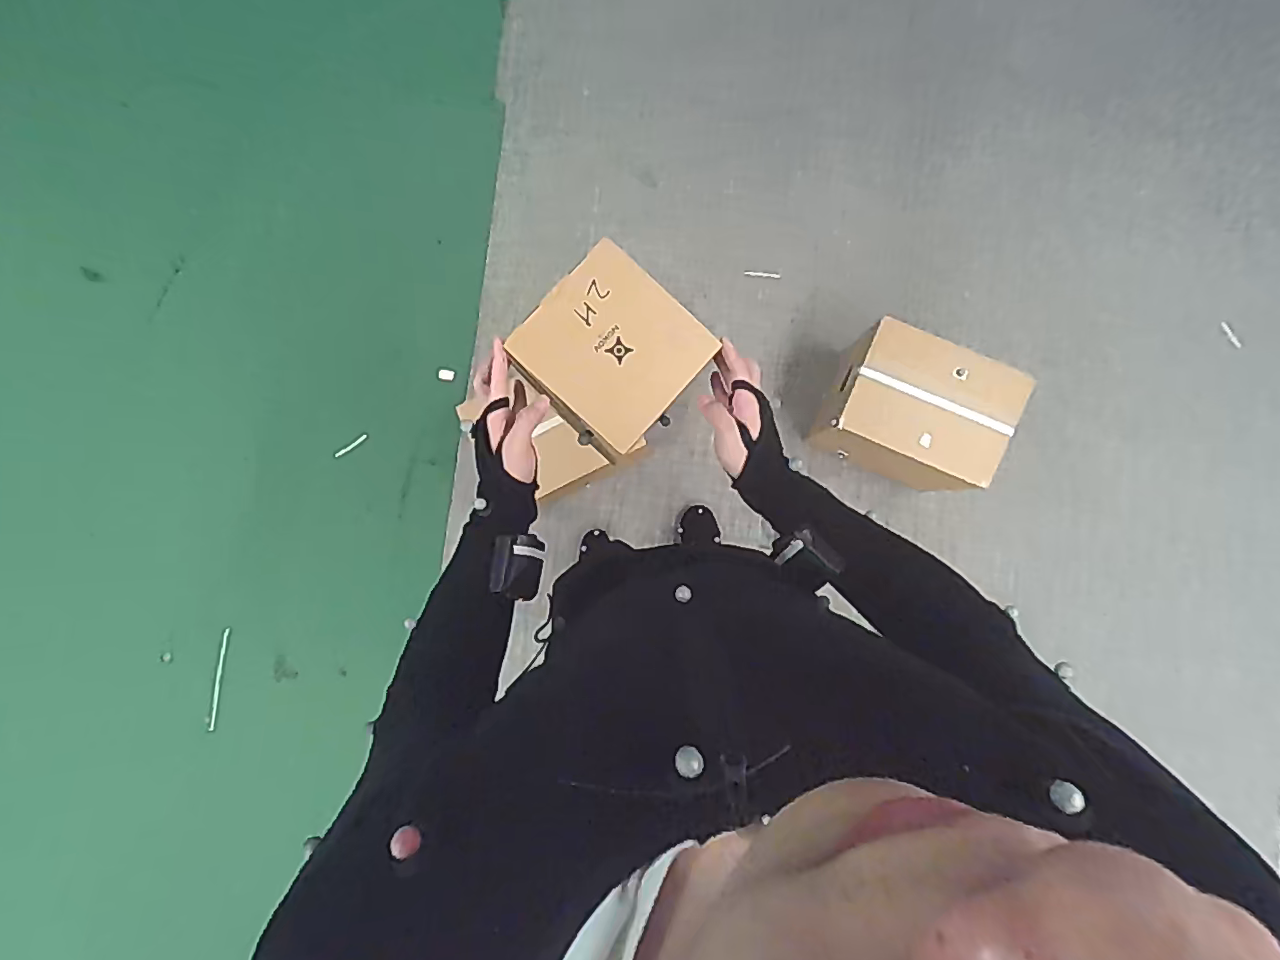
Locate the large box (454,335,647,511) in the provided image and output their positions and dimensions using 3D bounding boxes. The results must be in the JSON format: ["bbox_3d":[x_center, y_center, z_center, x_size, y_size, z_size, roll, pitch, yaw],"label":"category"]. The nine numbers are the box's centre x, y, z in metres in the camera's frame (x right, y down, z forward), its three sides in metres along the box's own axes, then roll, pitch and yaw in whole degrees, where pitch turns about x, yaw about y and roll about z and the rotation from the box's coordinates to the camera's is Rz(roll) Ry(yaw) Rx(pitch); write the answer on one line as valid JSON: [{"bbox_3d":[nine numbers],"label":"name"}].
[{"bbox_3d":[-0.226,-0.142,1.516,0.408,0.320,0.320,-27,86,1],"label":"large box"}]
